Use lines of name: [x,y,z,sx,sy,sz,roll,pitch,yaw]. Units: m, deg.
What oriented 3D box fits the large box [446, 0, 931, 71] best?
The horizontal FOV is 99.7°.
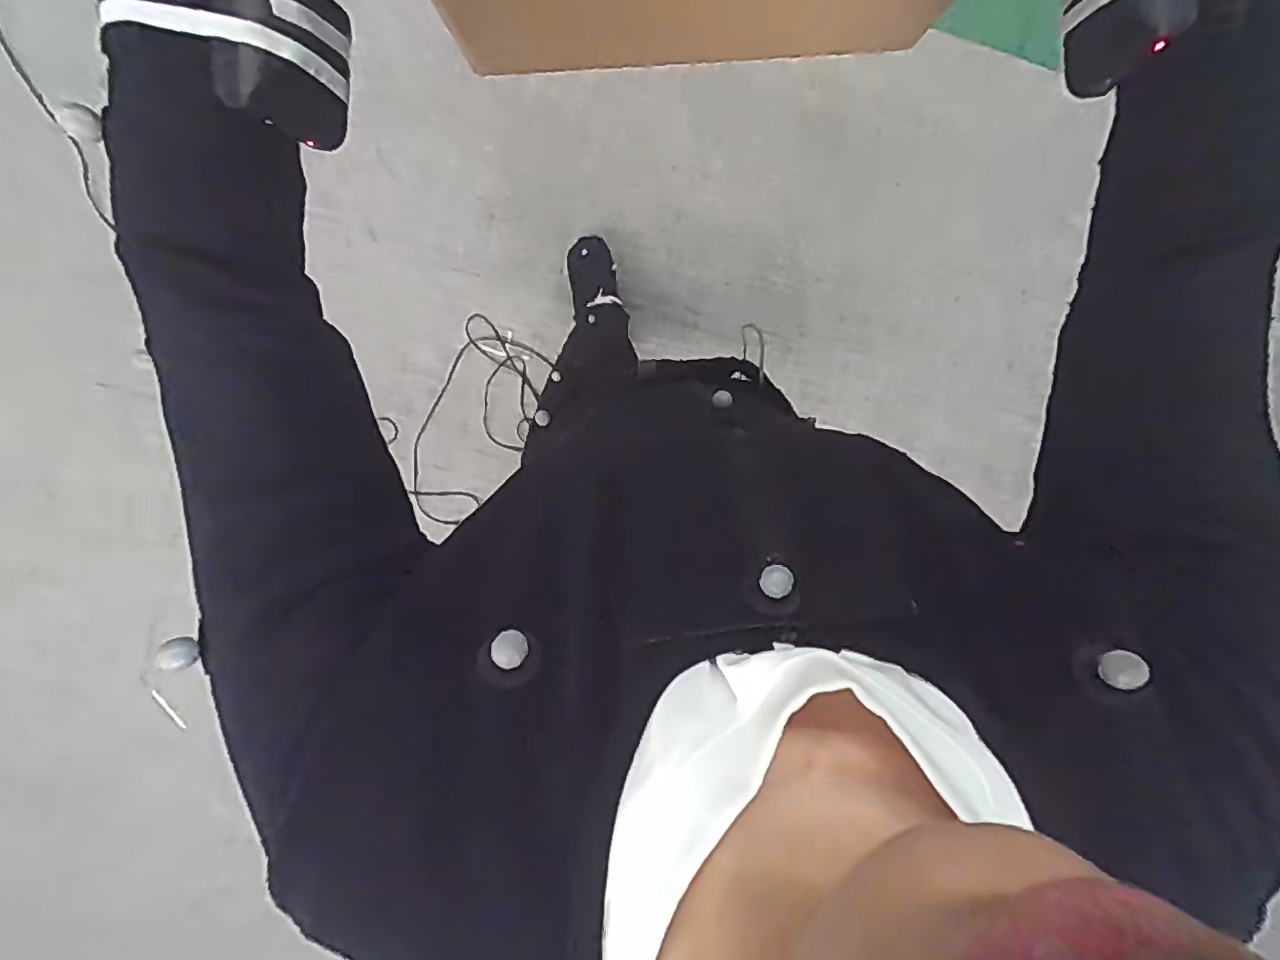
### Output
large box: [0.039,-0.508,0.323,0.408,0.320,0.320,-4,103,-1]
